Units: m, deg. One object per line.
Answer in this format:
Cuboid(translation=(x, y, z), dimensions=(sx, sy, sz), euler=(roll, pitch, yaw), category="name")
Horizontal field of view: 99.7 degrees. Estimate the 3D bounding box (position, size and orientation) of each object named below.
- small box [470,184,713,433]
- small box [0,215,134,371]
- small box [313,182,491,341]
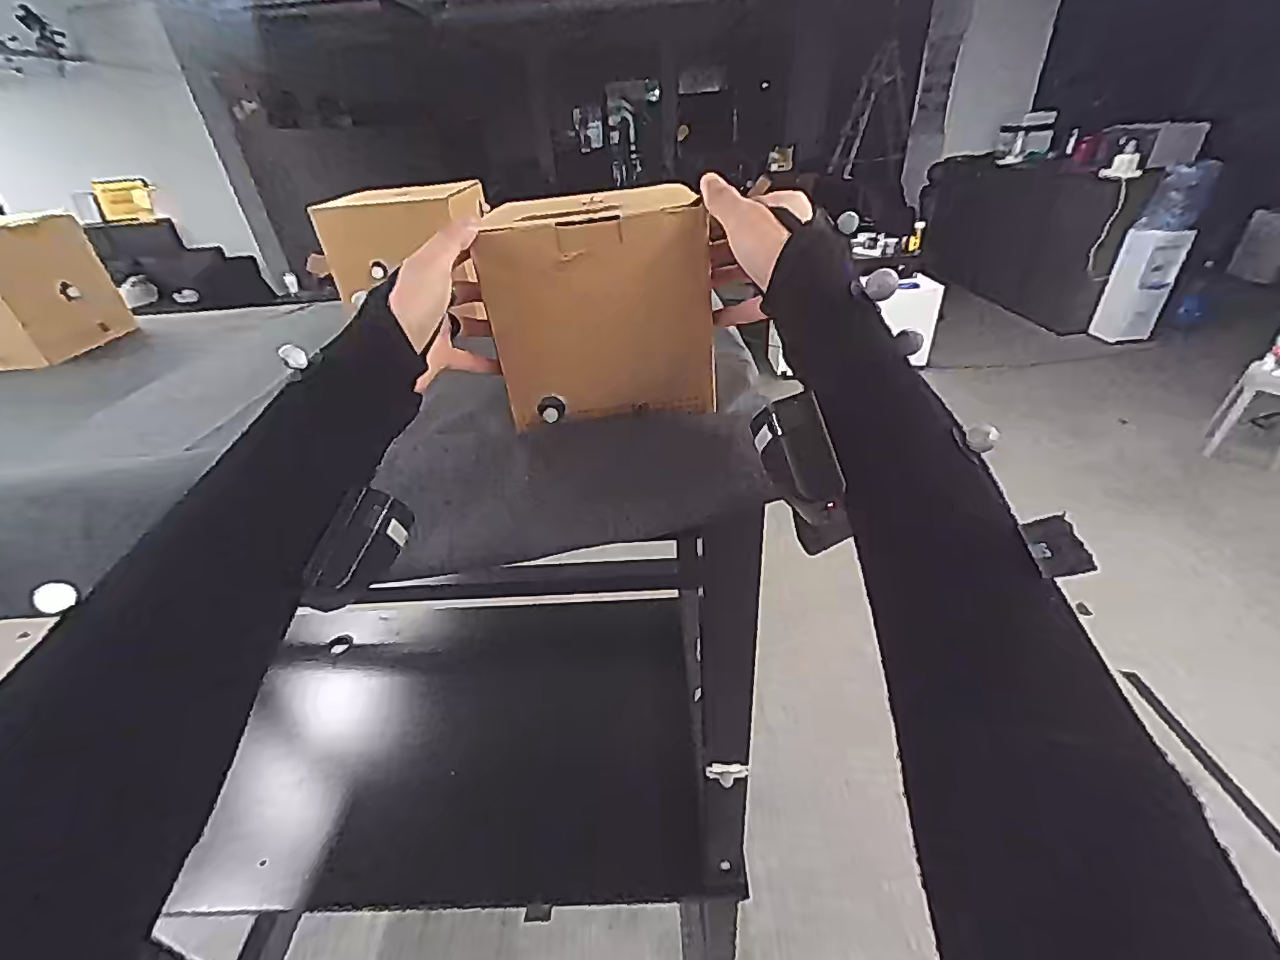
Cuboid(translation=(-0.030, -0.149, 0.475), dimensions=(0.168, 0.176, 0.179), euler=(-6, 32, 1), category="small box")
Cuboid(translation=(-0.871, -0.254, 0.740), dimensions=(0.179, 0.176, 0.168), euler=(-4, 34, -1), category="small box")
Cuboid(translation=(-0.295, -0.294, 0.737), dimensions=(0.168, 0.176, 0.179), euler=(-4, 34, 1), category="small box")
